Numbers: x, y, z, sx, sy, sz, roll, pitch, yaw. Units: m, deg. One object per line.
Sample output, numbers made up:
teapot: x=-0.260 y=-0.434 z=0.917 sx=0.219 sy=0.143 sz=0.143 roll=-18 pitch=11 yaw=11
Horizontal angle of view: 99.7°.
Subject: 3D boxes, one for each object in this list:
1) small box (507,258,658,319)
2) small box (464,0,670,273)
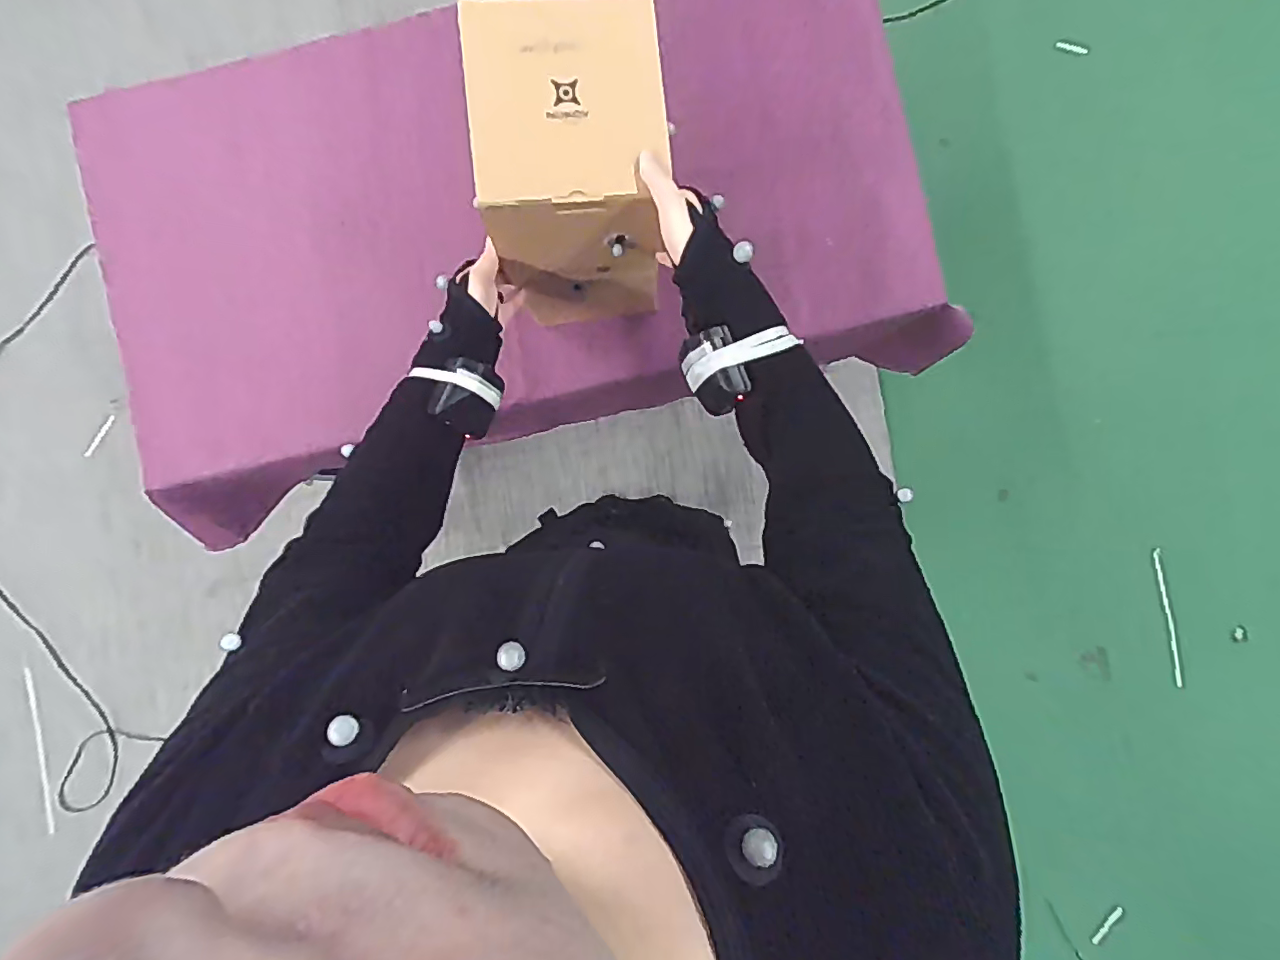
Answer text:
small box: x=-0.072 y=-0.322 z=0.711 sx=0.179 sy=0.176 sz=0.168 roll=-6 pitch=89 yaw=2
small box: x=-0.065 y=-0.319 z=0.534 sx=0.168 sy=0.176 sz=0.179 roll=-5 pitch=88 yaw=-4
